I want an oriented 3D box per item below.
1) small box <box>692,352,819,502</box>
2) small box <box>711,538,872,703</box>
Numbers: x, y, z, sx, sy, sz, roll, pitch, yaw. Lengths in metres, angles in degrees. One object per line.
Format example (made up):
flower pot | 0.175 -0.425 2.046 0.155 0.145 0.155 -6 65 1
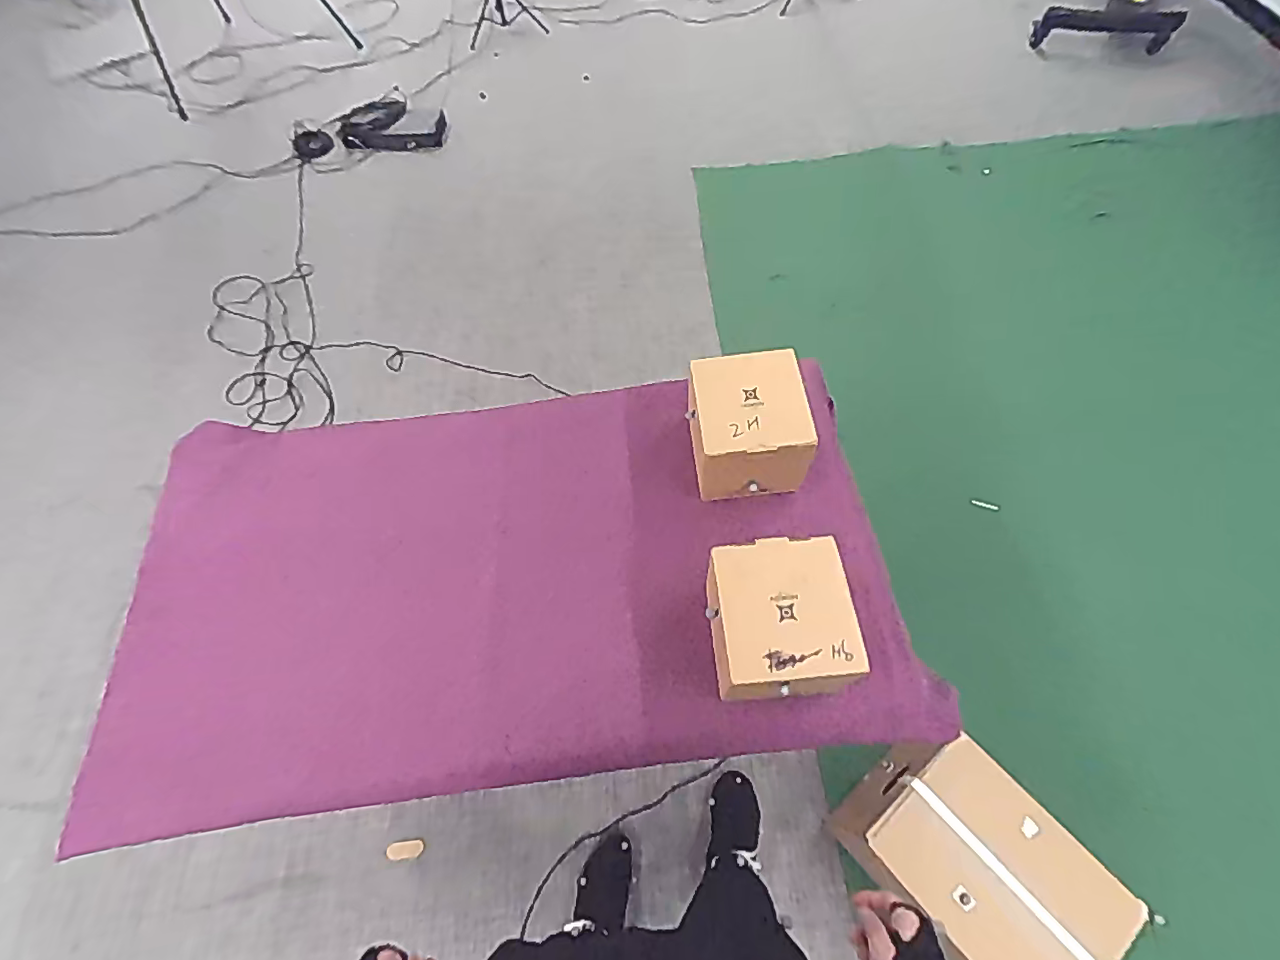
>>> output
small box | 0.177 -0.082 0.888 0.168 0.176 0.179 -6 64 2
small box | 0.191 0.197 0.743 0.168 0.176 0.179 -6 60 2
